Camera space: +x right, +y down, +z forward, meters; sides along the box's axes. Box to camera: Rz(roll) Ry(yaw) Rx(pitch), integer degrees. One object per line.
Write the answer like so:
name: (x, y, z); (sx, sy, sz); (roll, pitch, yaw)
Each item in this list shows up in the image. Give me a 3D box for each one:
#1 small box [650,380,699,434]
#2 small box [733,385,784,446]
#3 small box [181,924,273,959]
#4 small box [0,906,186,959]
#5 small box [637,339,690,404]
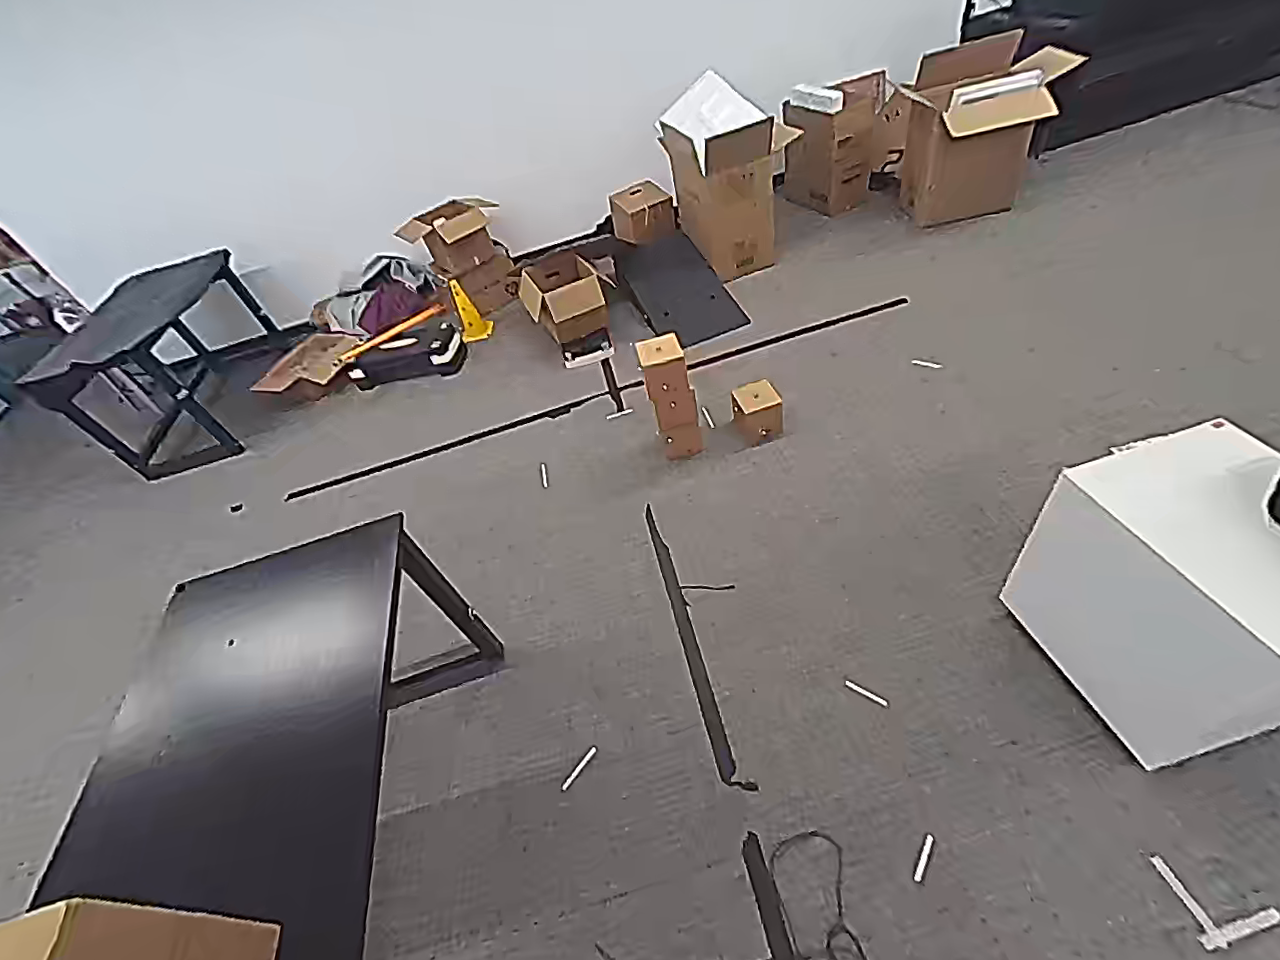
small box: (0.136, -0.315, 2.255); (0.179, 0.176, 0.168); (-16, 44, -1)
small box: (0.514, -0.280, 2.349); (0.168, 0.176, 0.179); (-19, 46, -1)
small box: (-0.618, 0.702, 0.691); (0.179, 0.176, 0.168); (-19, 44, -2)
small box: (-0.654, 0.590, 0.575); (0.179, 0.176, 0.168); (-18, 45, -2)
small box: (0.093, -0.428, 2.146); (0.168, 0.176, 0.179); (-15, 45, 0)
